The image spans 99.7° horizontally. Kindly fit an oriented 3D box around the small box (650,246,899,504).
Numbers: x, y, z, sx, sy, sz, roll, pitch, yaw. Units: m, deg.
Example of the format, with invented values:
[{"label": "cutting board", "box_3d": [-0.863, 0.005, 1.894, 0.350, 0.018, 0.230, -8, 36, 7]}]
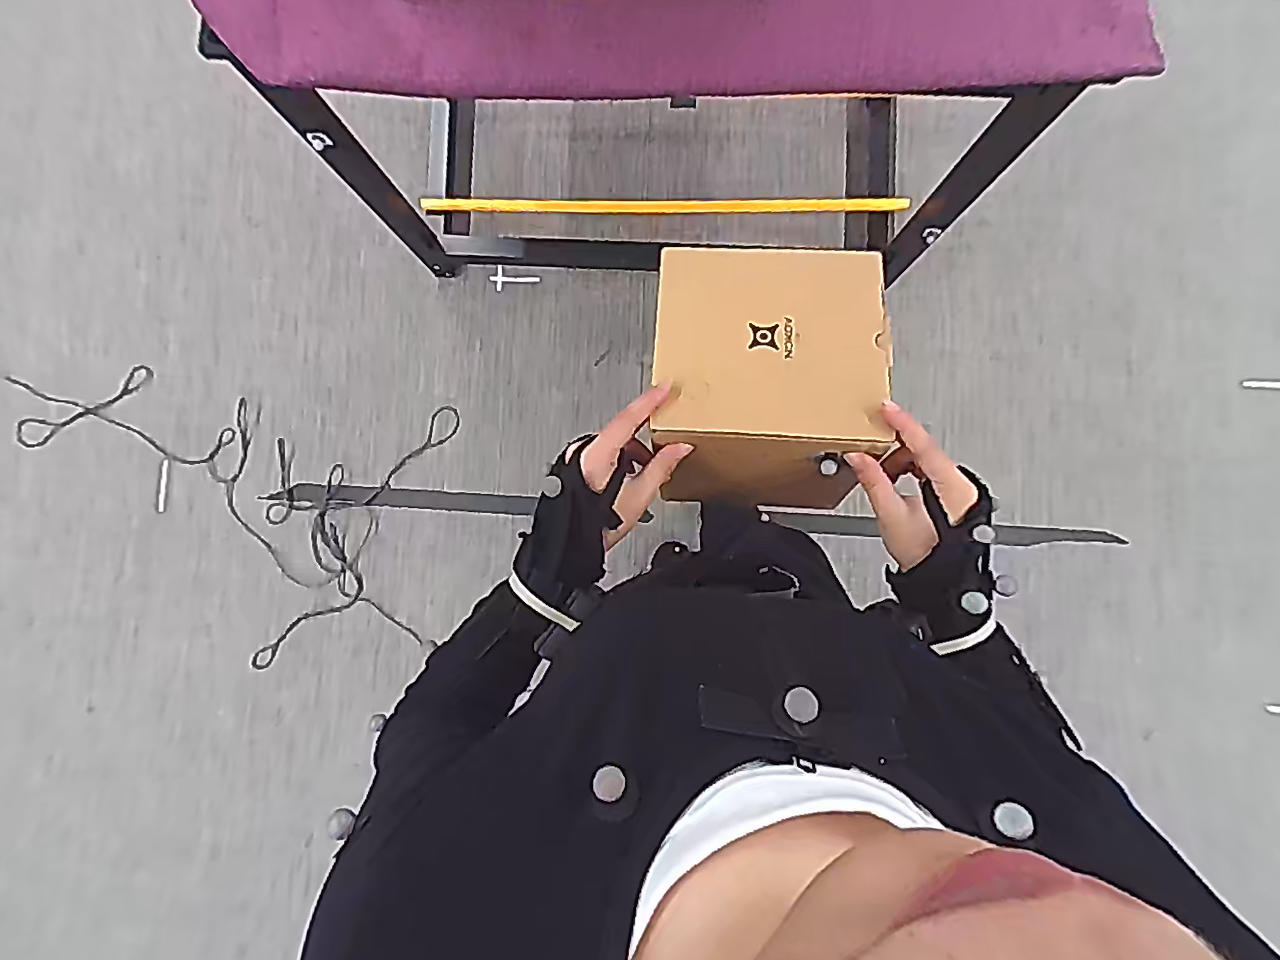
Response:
[{"label": "small box", "box_3d": [0.106, -0.081, 0.482, 0.179, 0.176, 0.168, 3, 71, 5]}]
